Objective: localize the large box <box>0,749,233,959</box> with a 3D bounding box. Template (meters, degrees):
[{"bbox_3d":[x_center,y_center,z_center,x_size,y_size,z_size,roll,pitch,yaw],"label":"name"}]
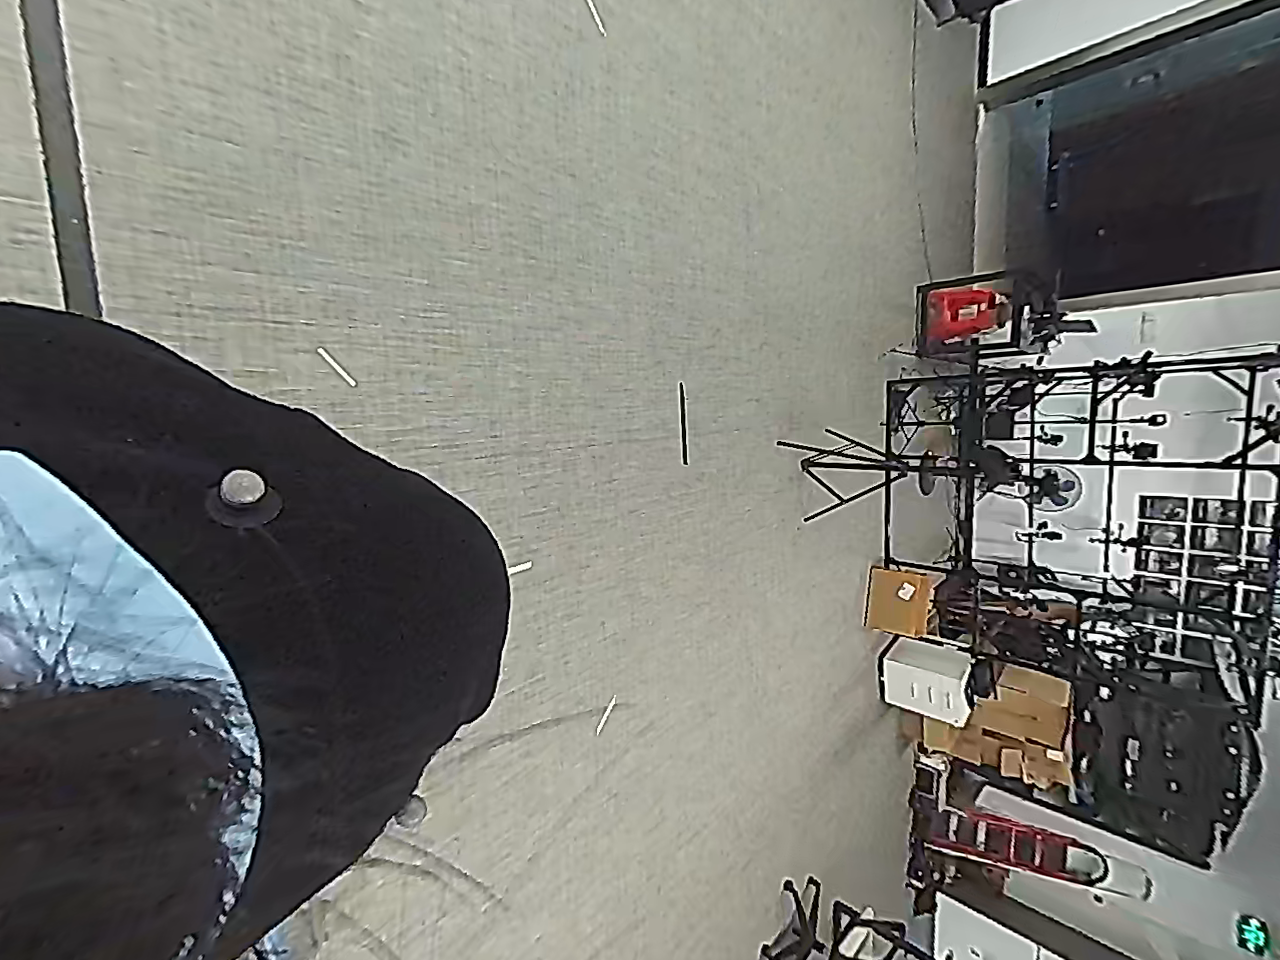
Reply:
[{"bbox_3d":[-0.926,0.710,0.849,0.408,0.320,0.320,-9,99,-44],"label":"large box"}]
